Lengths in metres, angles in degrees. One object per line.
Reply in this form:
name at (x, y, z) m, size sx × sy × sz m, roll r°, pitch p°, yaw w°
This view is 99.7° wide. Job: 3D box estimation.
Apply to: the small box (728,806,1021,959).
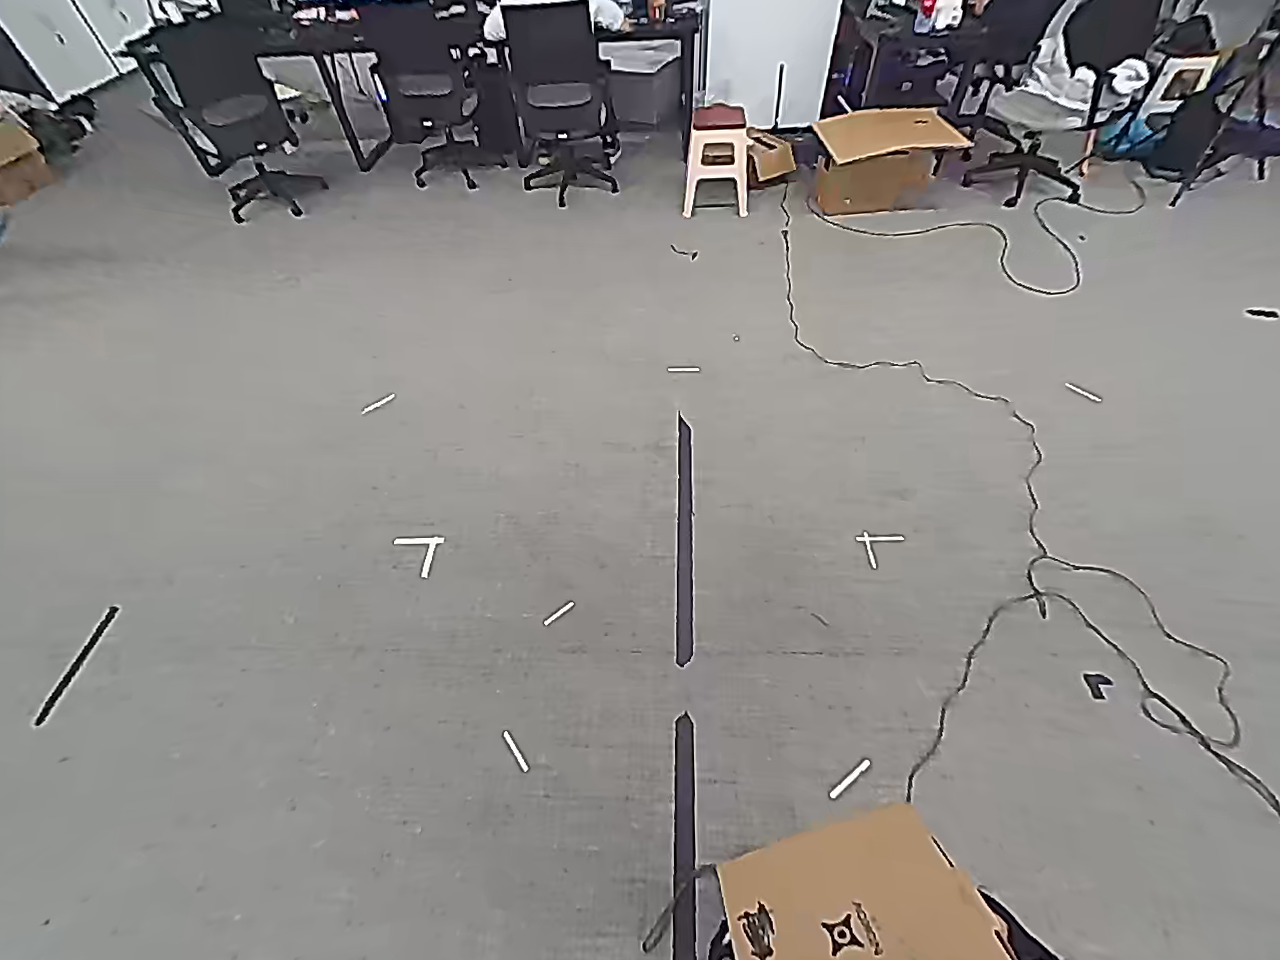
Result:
small box at (0.185, 0.399, 0.406) m, size 0.179 × 0.176 × 0.168 m, roll -19°, pitch 12°, yaw 2°
